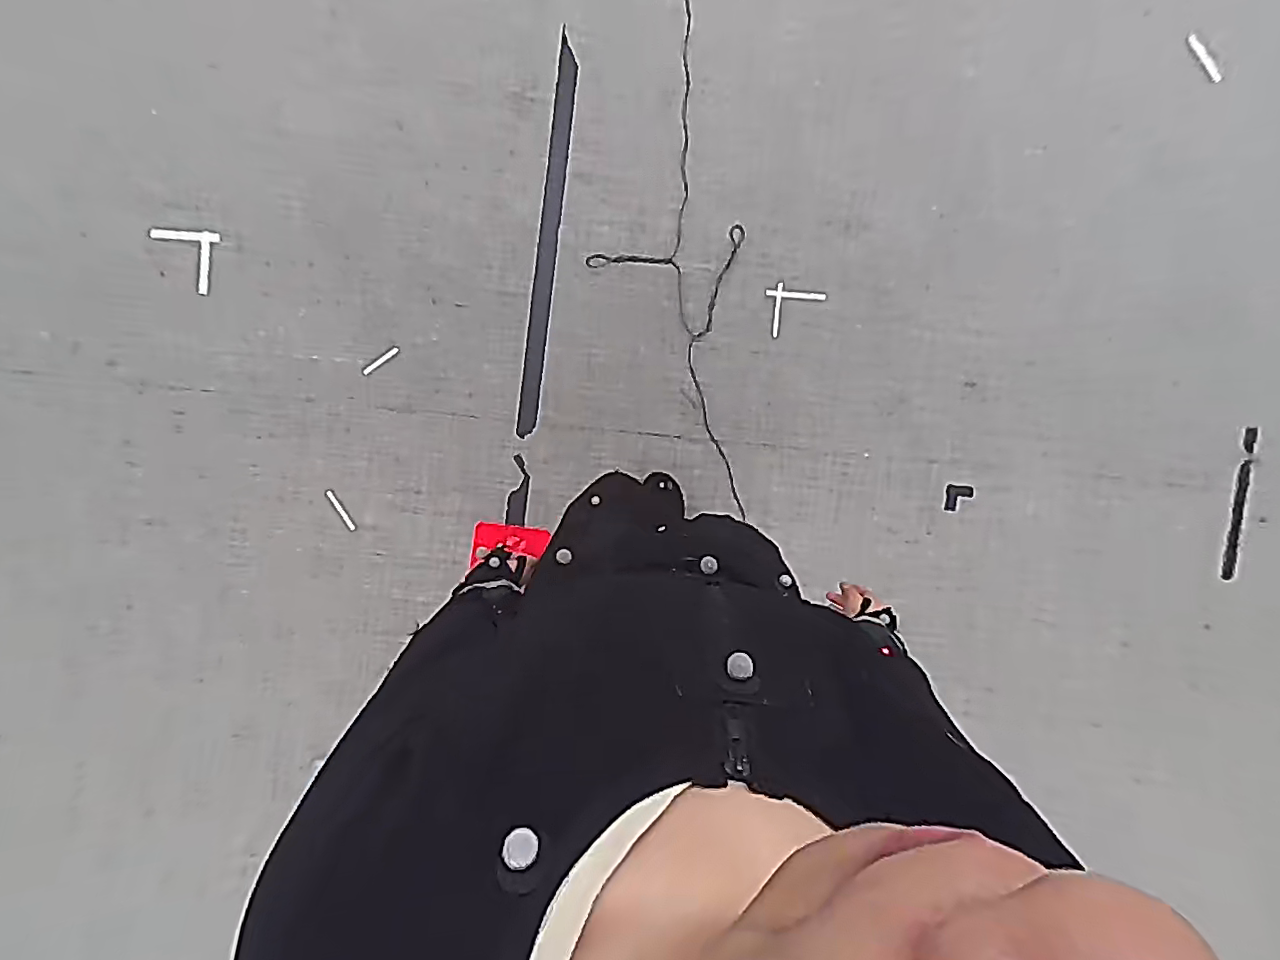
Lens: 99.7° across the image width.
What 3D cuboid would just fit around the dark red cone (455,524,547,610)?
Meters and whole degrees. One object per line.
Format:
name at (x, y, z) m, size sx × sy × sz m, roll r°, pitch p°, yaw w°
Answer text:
dark red cone at (-0.331, 0.217, 1.184) m, size 0.201 × 0.394 × 0.202 m, roll 6°, pitch 91°, yaw -2°
